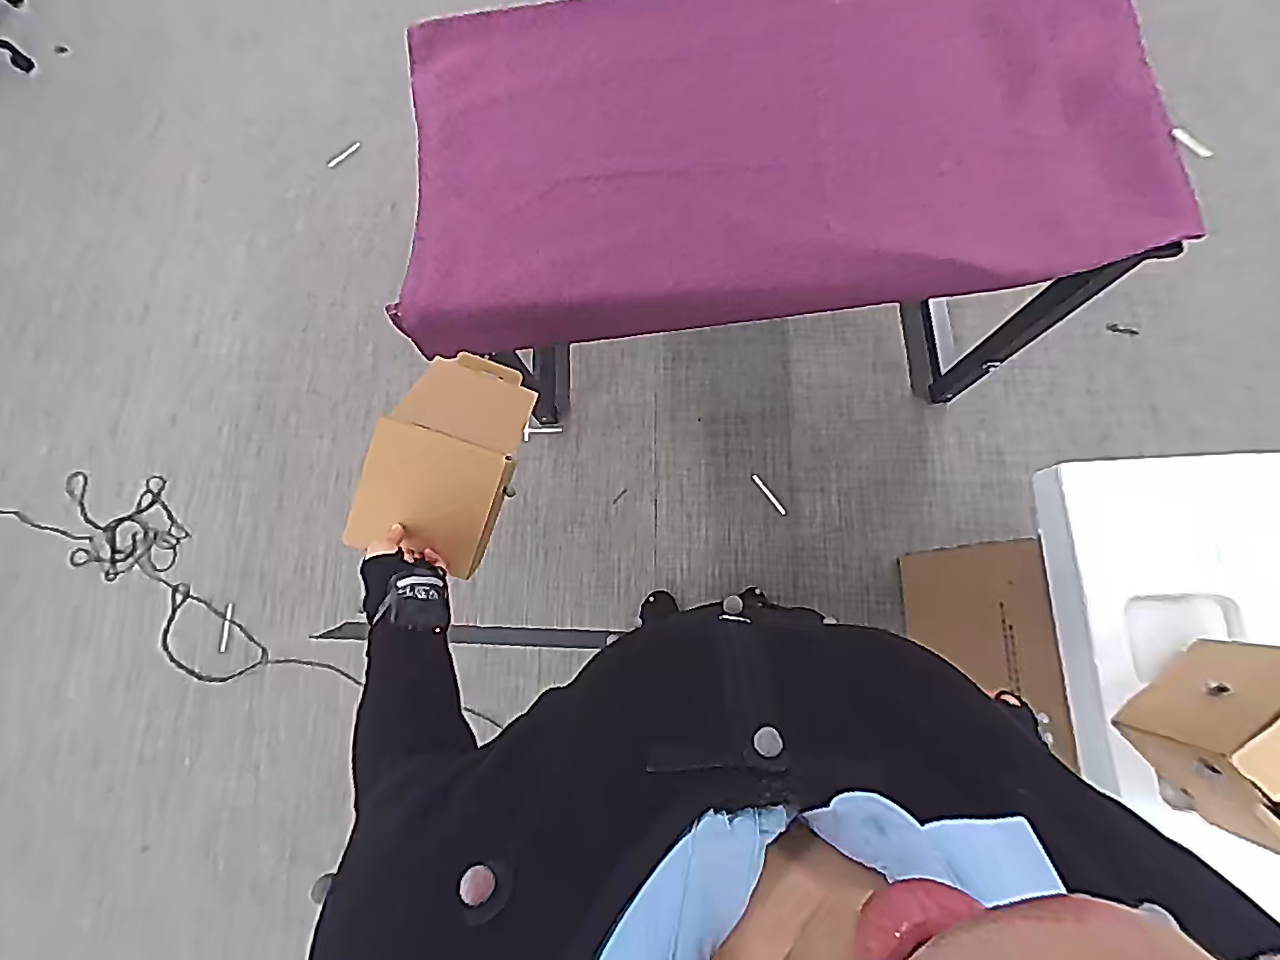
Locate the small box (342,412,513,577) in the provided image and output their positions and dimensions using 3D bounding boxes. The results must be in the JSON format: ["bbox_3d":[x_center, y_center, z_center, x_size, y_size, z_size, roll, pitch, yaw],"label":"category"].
[{"bbox_3d":[-0.290,0.021,0.779,0.168,0.176,0.179,20,86,-10],"label":"small box"}]
